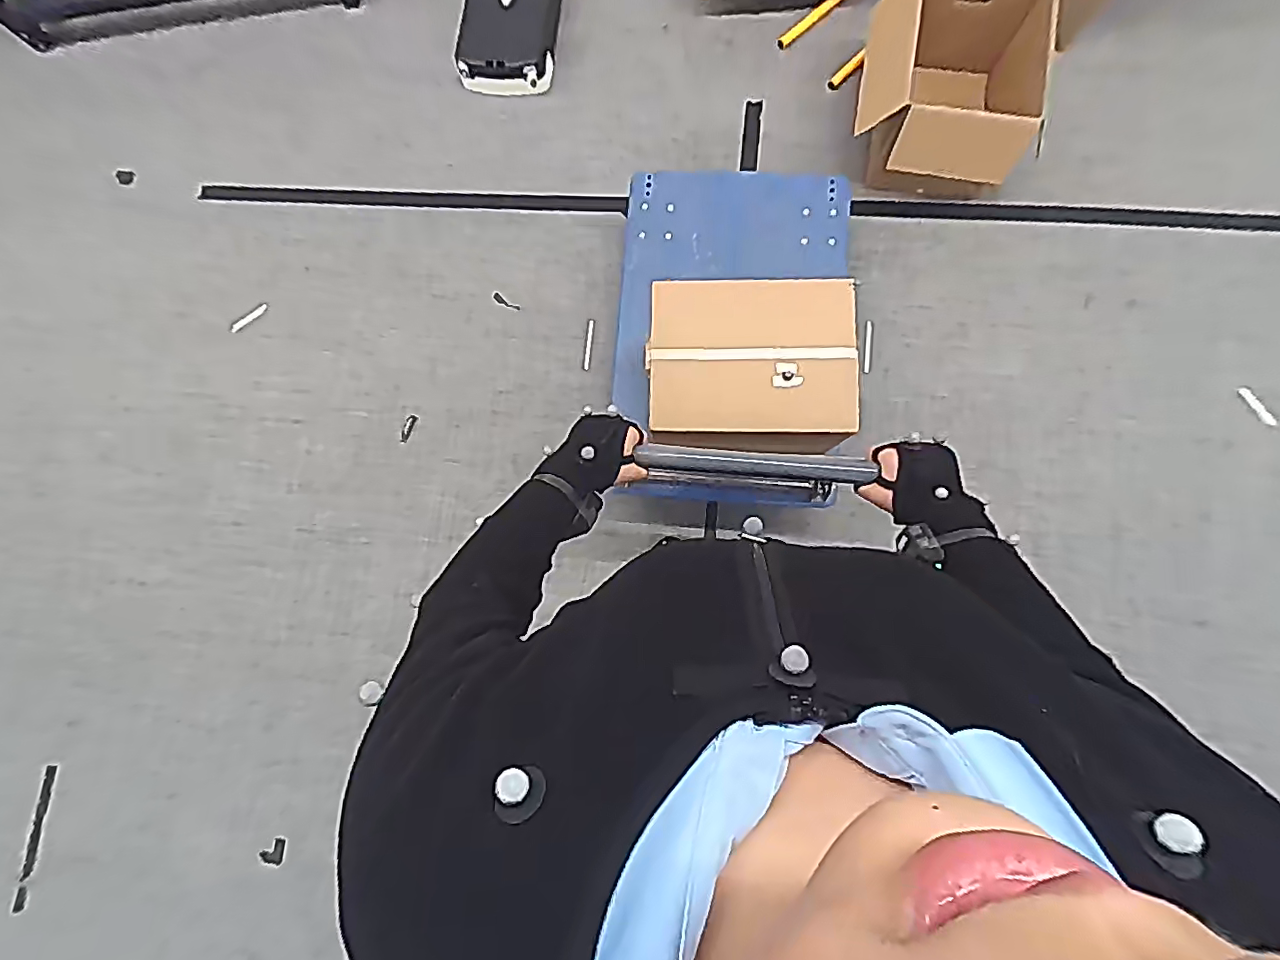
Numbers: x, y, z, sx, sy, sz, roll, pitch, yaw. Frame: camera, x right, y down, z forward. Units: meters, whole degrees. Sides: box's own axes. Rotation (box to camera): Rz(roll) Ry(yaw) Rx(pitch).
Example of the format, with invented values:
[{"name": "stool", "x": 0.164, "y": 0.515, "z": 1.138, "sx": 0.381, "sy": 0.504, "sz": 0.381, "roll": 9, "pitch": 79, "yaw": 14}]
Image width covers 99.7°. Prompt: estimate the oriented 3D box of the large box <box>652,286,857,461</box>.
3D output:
[{"name": "large box", "x": 0.231, "y": -0.221, "z": 1.225, "sx": 0.408, "sy": 0.320, "sz": 0.320, "roll": 1, "pitch": 84, "yaw": 3}]
